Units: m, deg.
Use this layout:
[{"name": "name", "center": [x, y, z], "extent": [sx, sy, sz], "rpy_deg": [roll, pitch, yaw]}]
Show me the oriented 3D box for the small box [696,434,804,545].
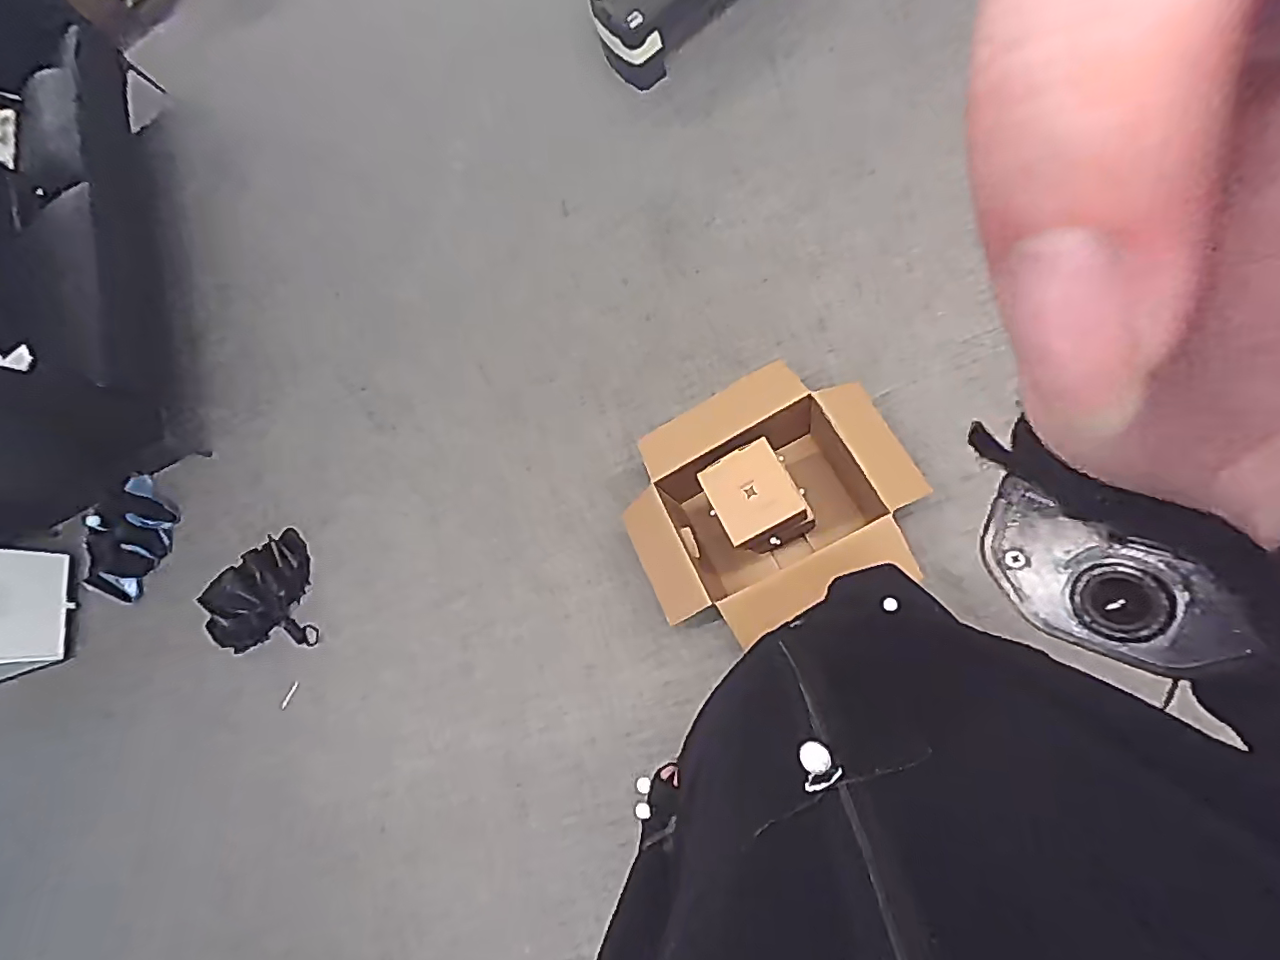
[{"name": "small box", "center": [0.245, 0.030, 1.187], "extent": [0.168, 0.176, 0.179], "rpy_deg": [-29, 73, 11]}]
